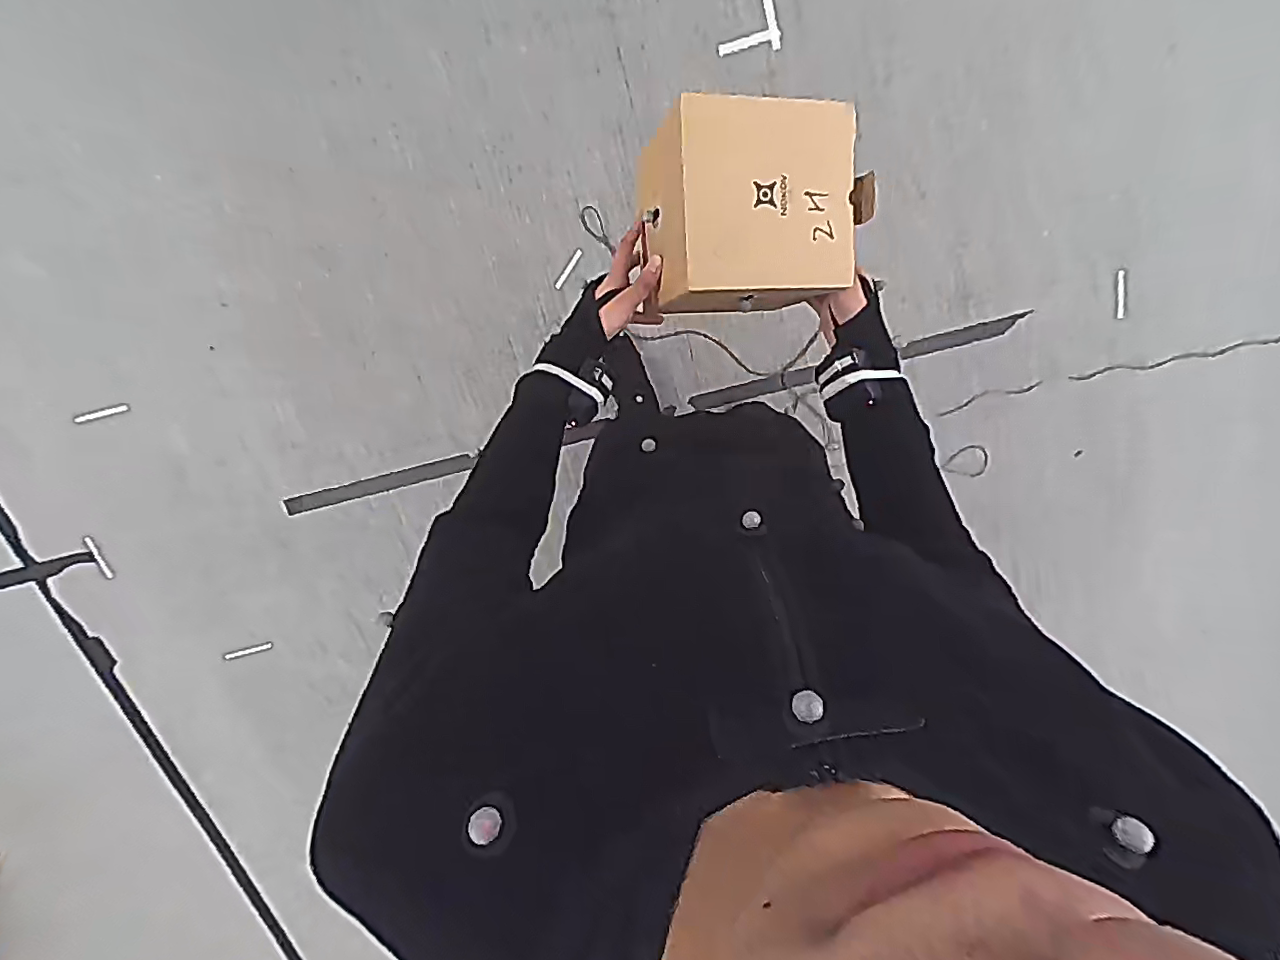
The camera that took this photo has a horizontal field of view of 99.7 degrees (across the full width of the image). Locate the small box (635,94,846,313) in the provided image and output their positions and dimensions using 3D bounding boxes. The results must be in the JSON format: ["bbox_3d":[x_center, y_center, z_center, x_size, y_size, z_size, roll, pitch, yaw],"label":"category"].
[{"bbox_3d":[0.095,-0.275,0.576,0.179,0.176,0.168,-6,101,-13],"label":"small box"}]
